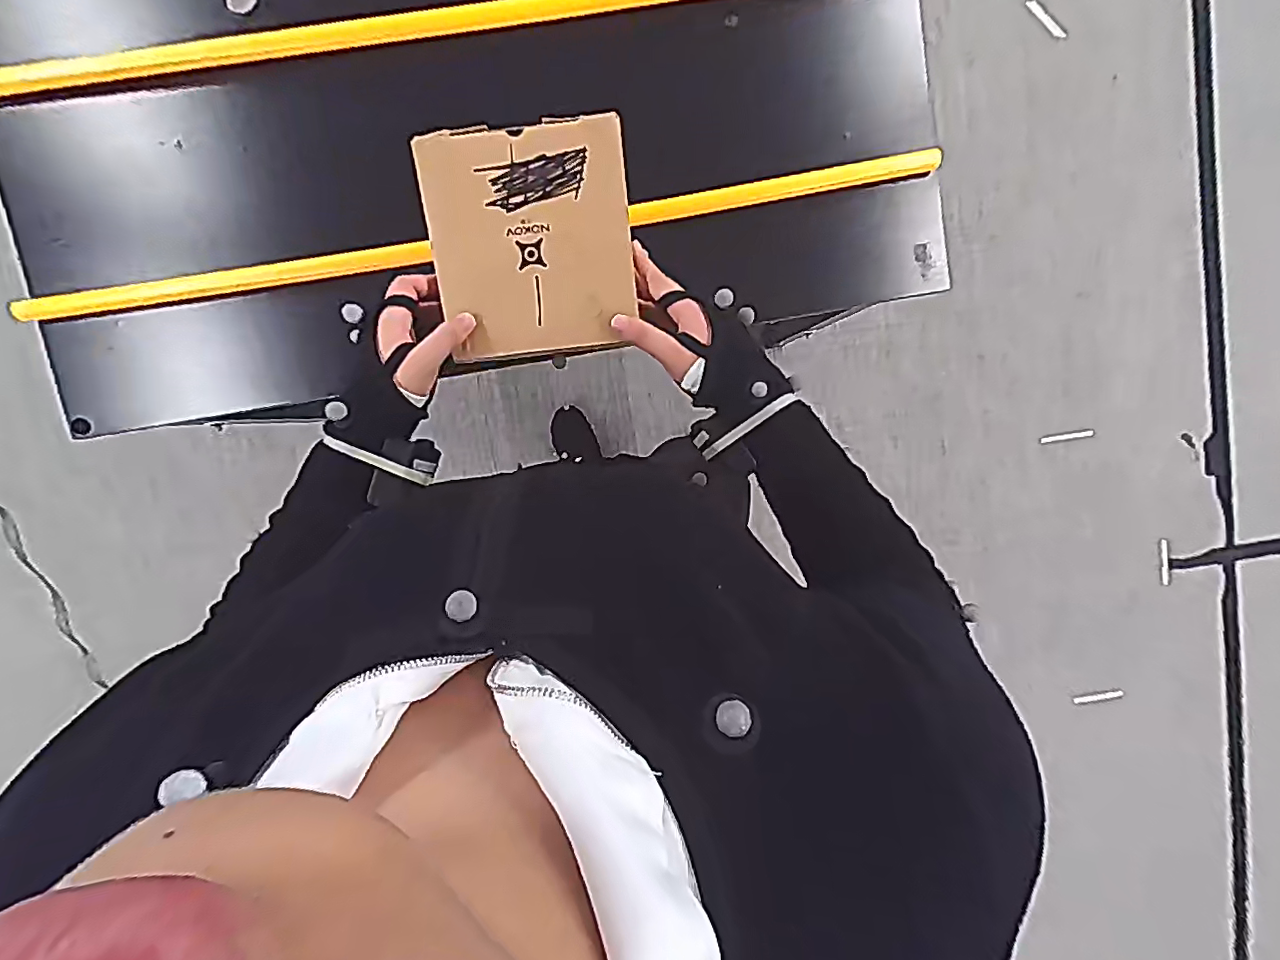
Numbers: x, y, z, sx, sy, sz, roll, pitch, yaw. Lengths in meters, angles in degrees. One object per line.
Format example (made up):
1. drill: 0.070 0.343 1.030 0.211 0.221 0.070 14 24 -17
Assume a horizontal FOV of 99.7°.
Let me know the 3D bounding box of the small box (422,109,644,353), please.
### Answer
1. small box: -0.087 -0.220 0.524 0.168 0.176 0.179 -6 103 1
